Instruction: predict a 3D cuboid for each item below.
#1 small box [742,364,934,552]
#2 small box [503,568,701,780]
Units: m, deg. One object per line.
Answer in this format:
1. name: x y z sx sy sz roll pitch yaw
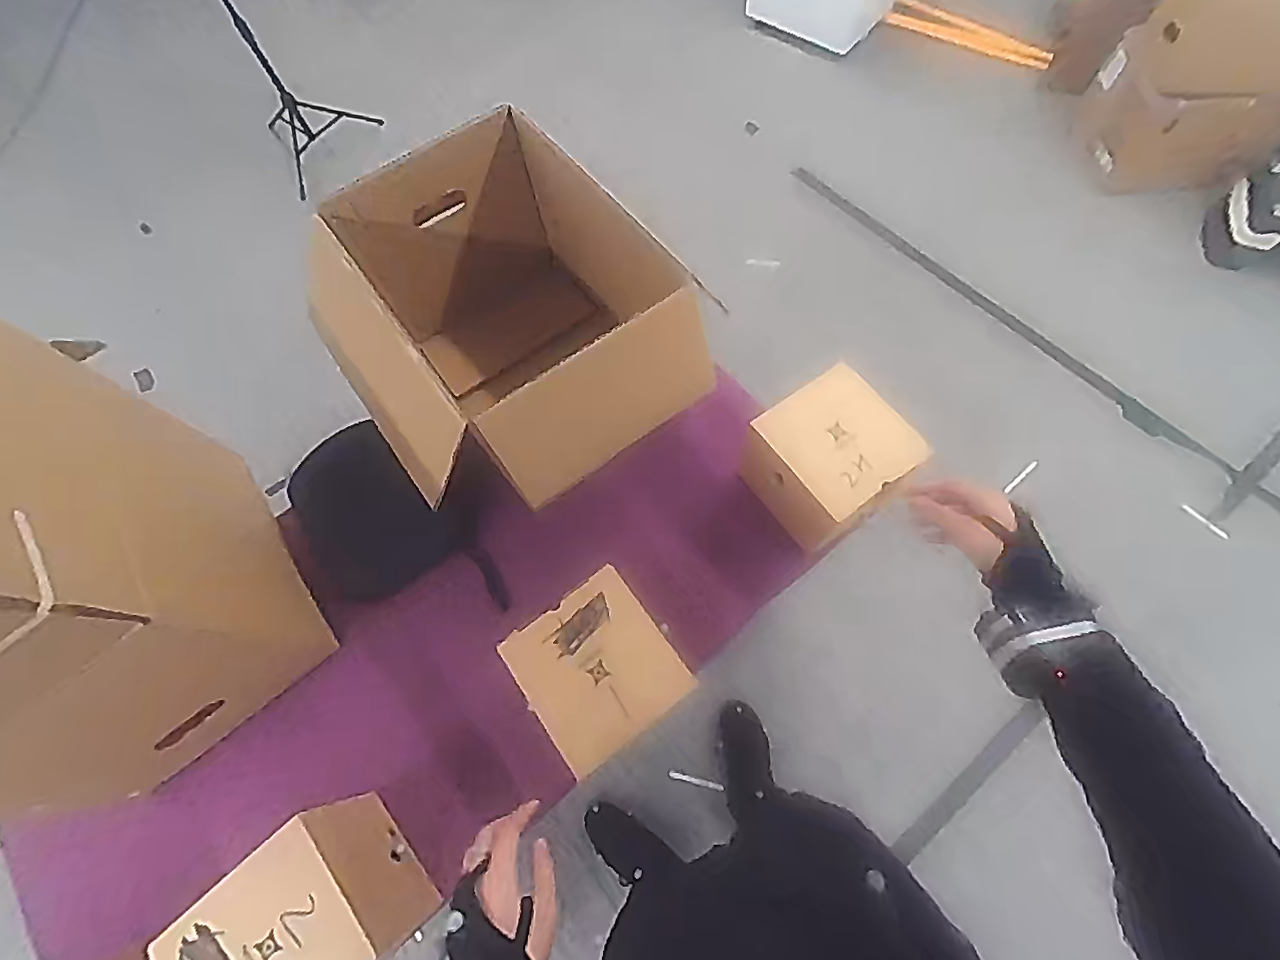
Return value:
1. small box: 0.264 -0.024 0.773 0.168 0.176 0.179 -33 70 -9
2. small box: -0.042 0.243 0.689 0.168 0.176 0.179 -36 71 -10
